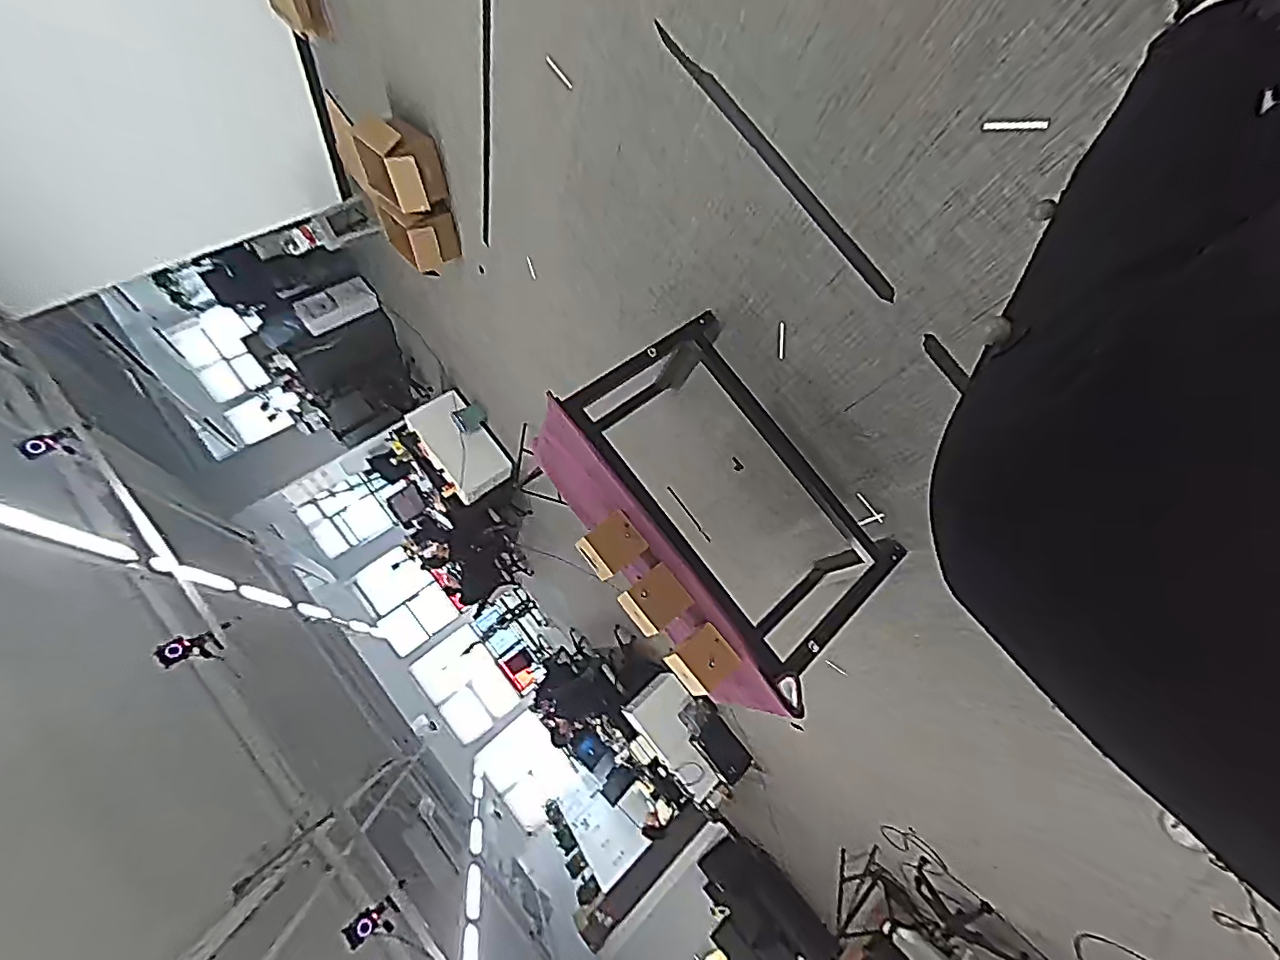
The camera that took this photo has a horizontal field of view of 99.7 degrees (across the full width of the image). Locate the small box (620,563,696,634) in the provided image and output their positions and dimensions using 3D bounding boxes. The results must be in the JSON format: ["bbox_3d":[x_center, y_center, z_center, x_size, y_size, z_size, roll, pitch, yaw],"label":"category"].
[{"bbox_3d":[0.060,0.403,1.865,0.179,0.176,0.168,51,158,8],"label":"small box"}]

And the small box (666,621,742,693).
[{"bbox_3d":[0.220,0.602,1.844,0.168,0.176,0.179,49,157,11],"label":"small box"}]
